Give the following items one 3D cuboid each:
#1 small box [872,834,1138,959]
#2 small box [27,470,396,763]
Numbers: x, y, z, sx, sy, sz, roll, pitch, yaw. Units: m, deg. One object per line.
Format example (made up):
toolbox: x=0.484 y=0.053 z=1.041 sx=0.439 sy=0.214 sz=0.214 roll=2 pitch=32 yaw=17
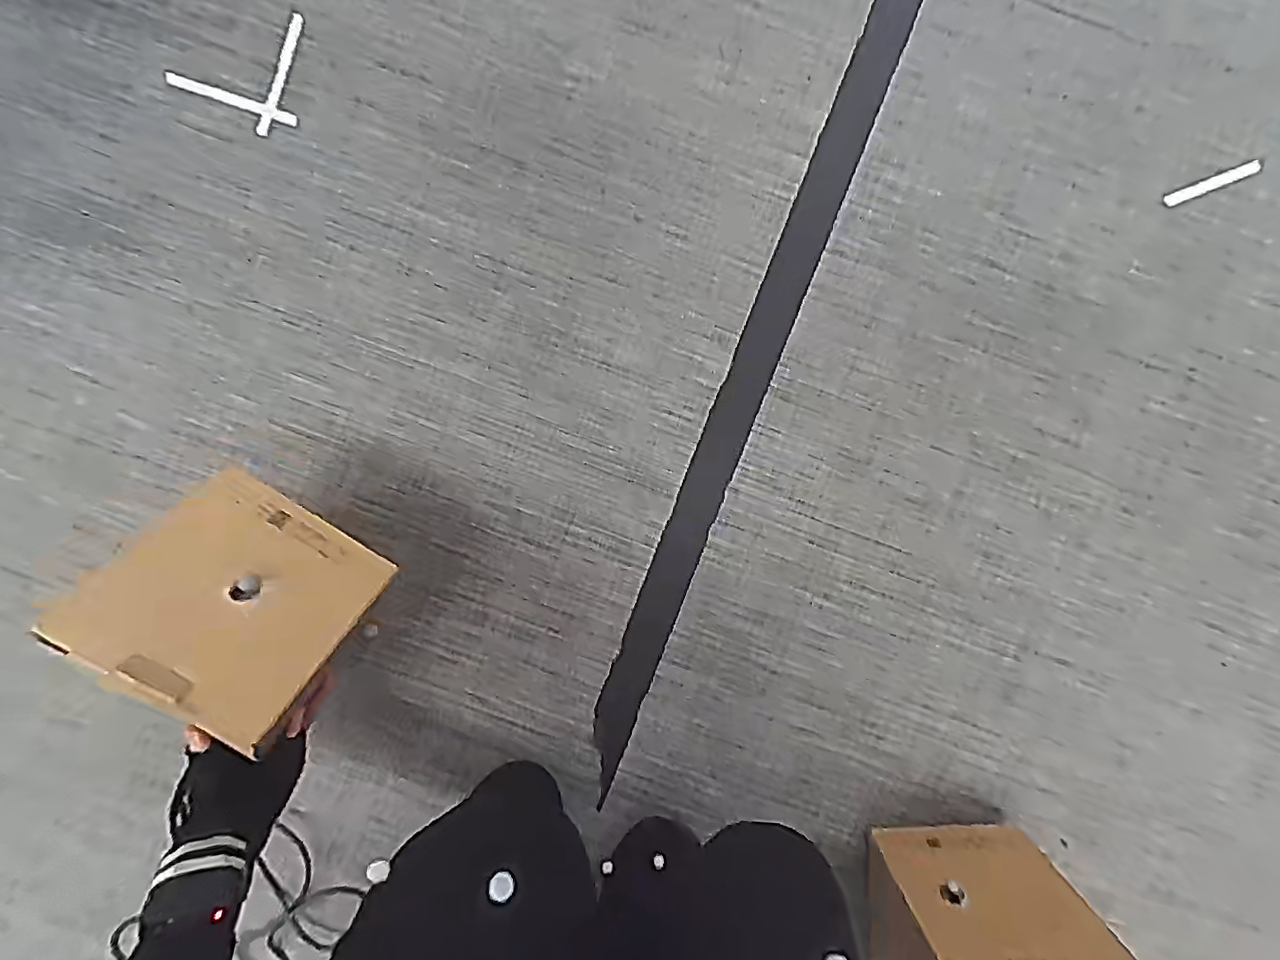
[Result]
small box: x=0.339 y=0.478 z=0.526 sx=0.168 sy=0.176 sz=0.179 roll=-4 pitch=97 yaw=3
small box: x=-0.345 y=0.122 z=0.476 sx=0.168 sy=0.179 sz=0.176 roll=37 pitch=49 yaw=-10
